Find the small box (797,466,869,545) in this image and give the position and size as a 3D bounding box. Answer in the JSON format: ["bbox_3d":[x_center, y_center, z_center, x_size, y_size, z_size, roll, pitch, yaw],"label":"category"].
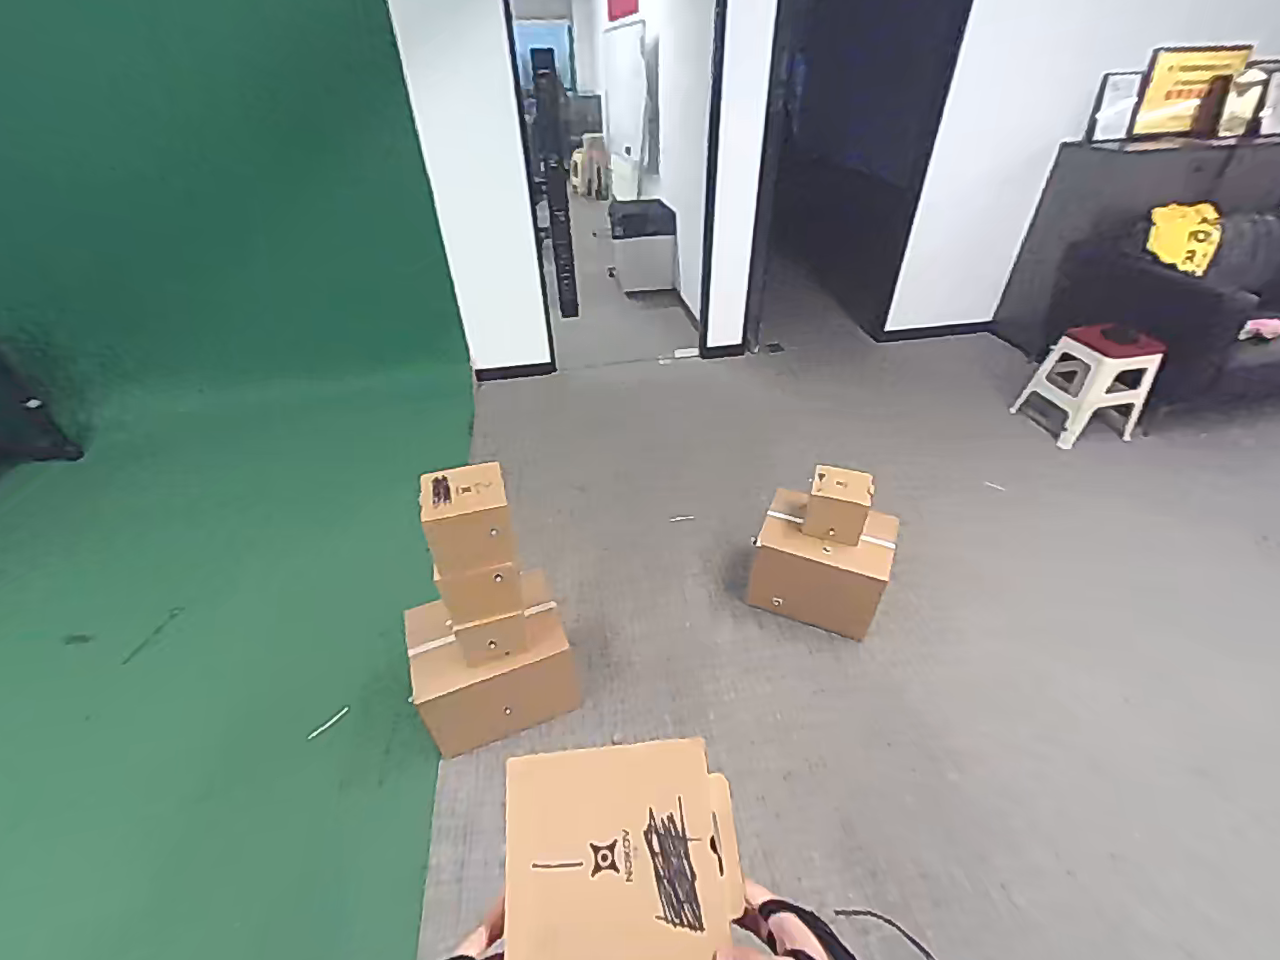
[{"bbox_3d":[0.615,0.084,1.723,0.179,0.176,0.168,14,39,16],"label":"small box"}]

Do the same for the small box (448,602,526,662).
[{"bbox_3d":[-0.397,0.348,1.401,0.168,0.176,0.179,-11,40,-14],"label":"small box"}]

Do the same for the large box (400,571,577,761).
[{"bbox_3d":[-0.431,0.529,1.568,0.408,0.320,0.320,-16,40,-17],"label":"large box"}]

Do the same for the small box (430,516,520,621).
[{"bbox_3d":[-0.396,0.216,1.306,0.179,0.176,0.168,-10,40,-13],"label":"small box"}]

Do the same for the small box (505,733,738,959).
[{"bbox_3d":[-0.027,0.335,0.501,0.179,0.176,0.168,-2,60,-8],"label":"small box"}]
